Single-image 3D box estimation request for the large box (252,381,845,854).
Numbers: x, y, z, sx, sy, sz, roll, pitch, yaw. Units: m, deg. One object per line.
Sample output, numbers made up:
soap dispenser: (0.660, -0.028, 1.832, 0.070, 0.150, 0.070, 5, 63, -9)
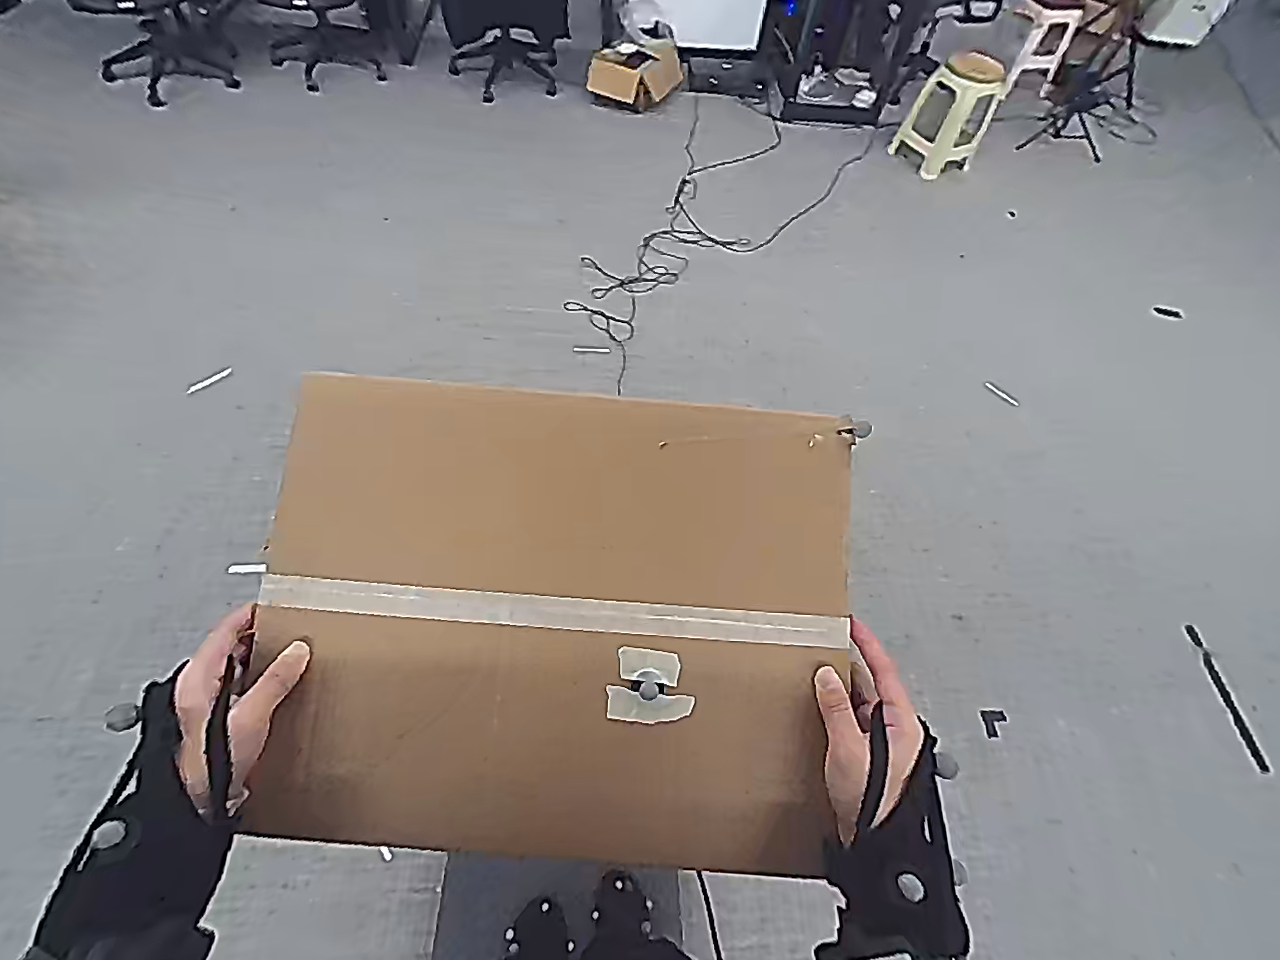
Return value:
large box: (-0.057, 0.114, 0.533, 0.408, 0.320, 0.320, 5, 81, -1)
